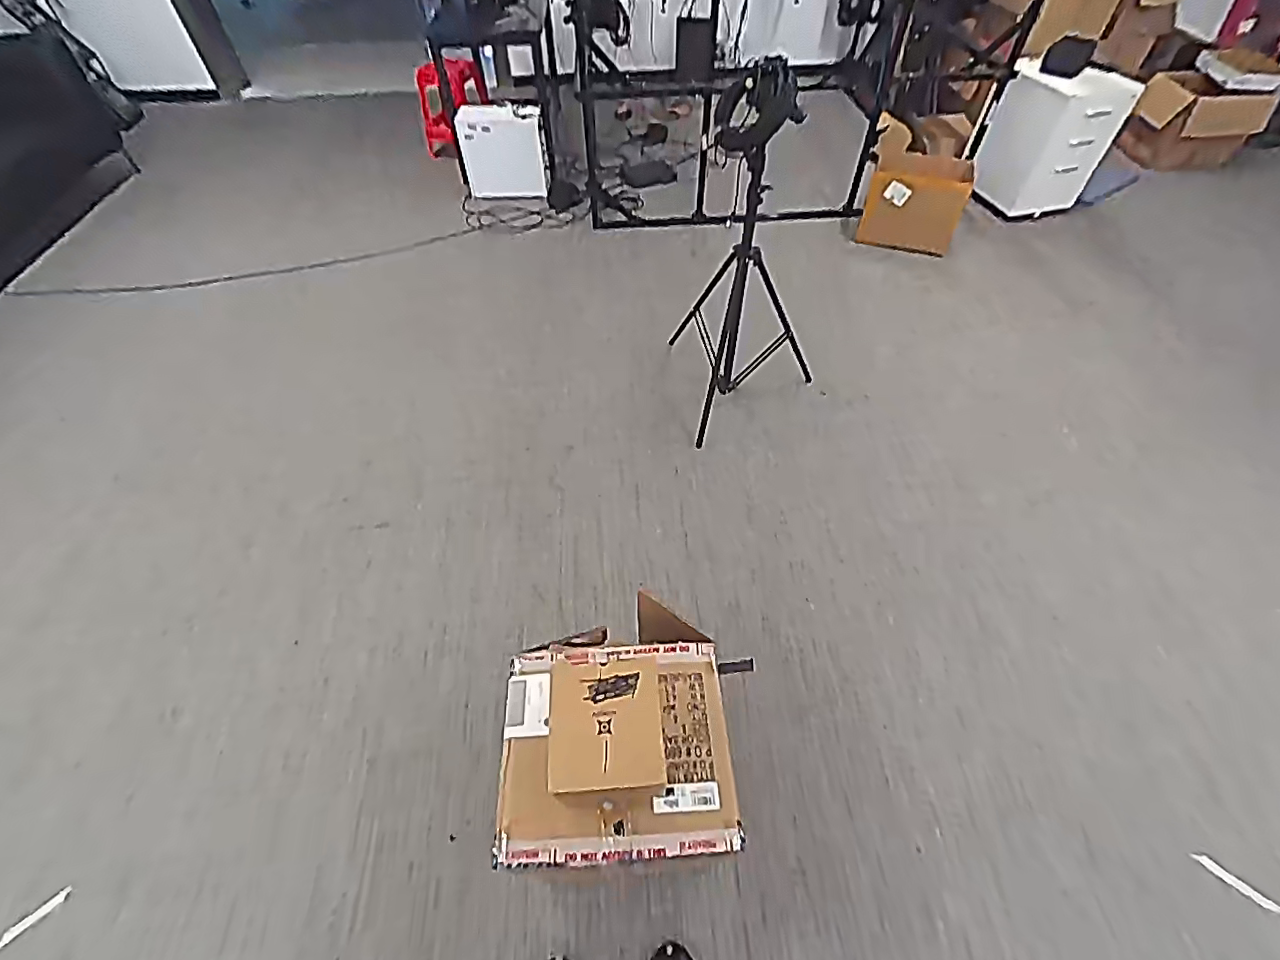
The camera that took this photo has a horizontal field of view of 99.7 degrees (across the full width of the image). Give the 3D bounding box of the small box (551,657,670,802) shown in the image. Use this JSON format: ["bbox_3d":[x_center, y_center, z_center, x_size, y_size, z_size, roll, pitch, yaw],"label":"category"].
[{"bbox_3d":[-0.044,0.395,0.853,0.168,0.176,0.179,-4,55,-1],"label":"small box"}]
